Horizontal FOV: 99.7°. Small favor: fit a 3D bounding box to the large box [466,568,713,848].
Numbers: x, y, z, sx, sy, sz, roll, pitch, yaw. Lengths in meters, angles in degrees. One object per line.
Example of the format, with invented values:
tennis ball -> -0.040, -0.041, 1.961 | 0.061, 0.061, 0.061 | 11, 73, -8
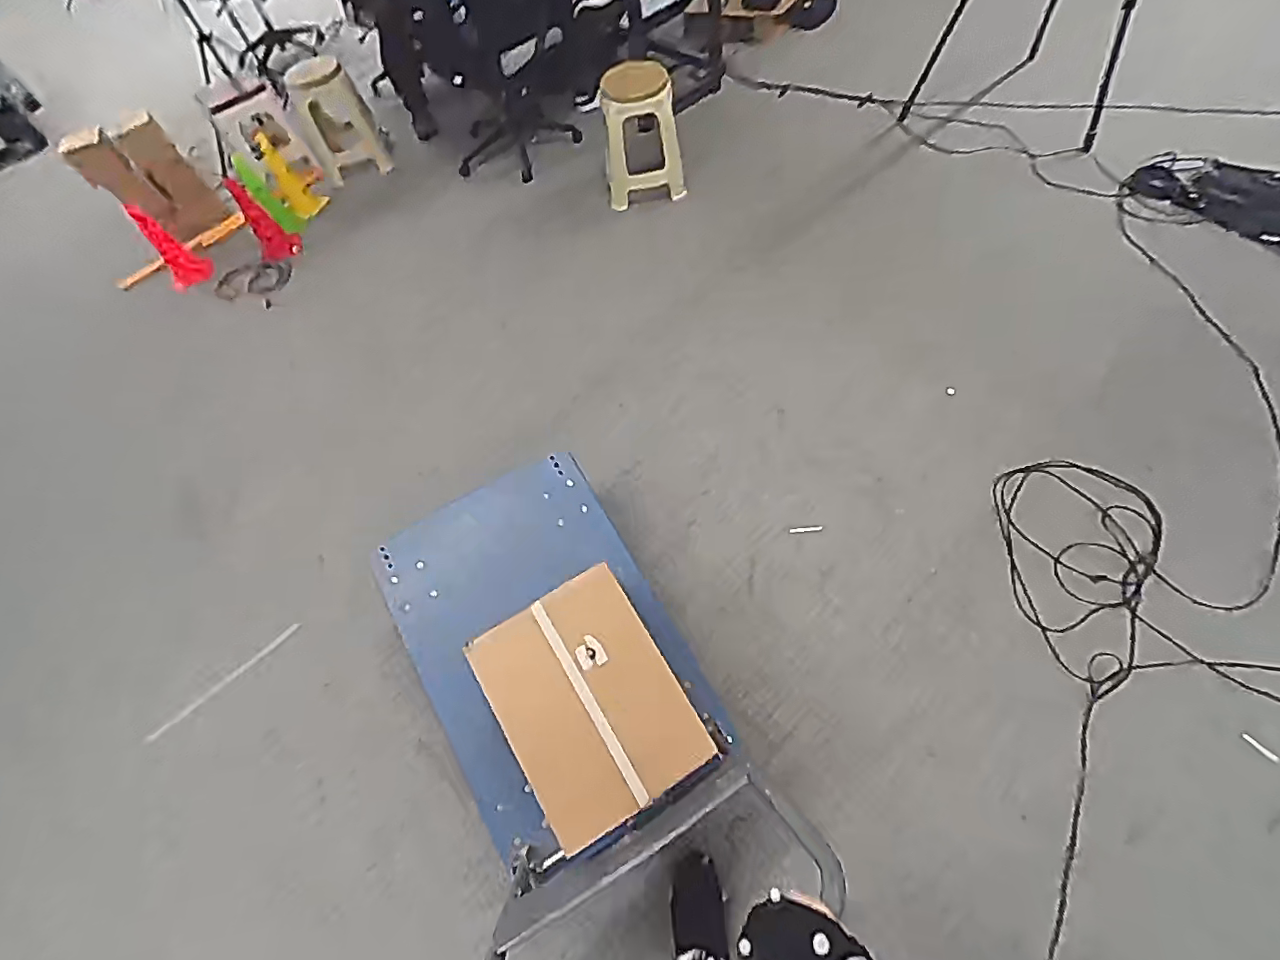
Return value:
large box -> -0.098, 0.451, 1.151 | 0.320, 0.320, 0.408 | -31, 76, -10
